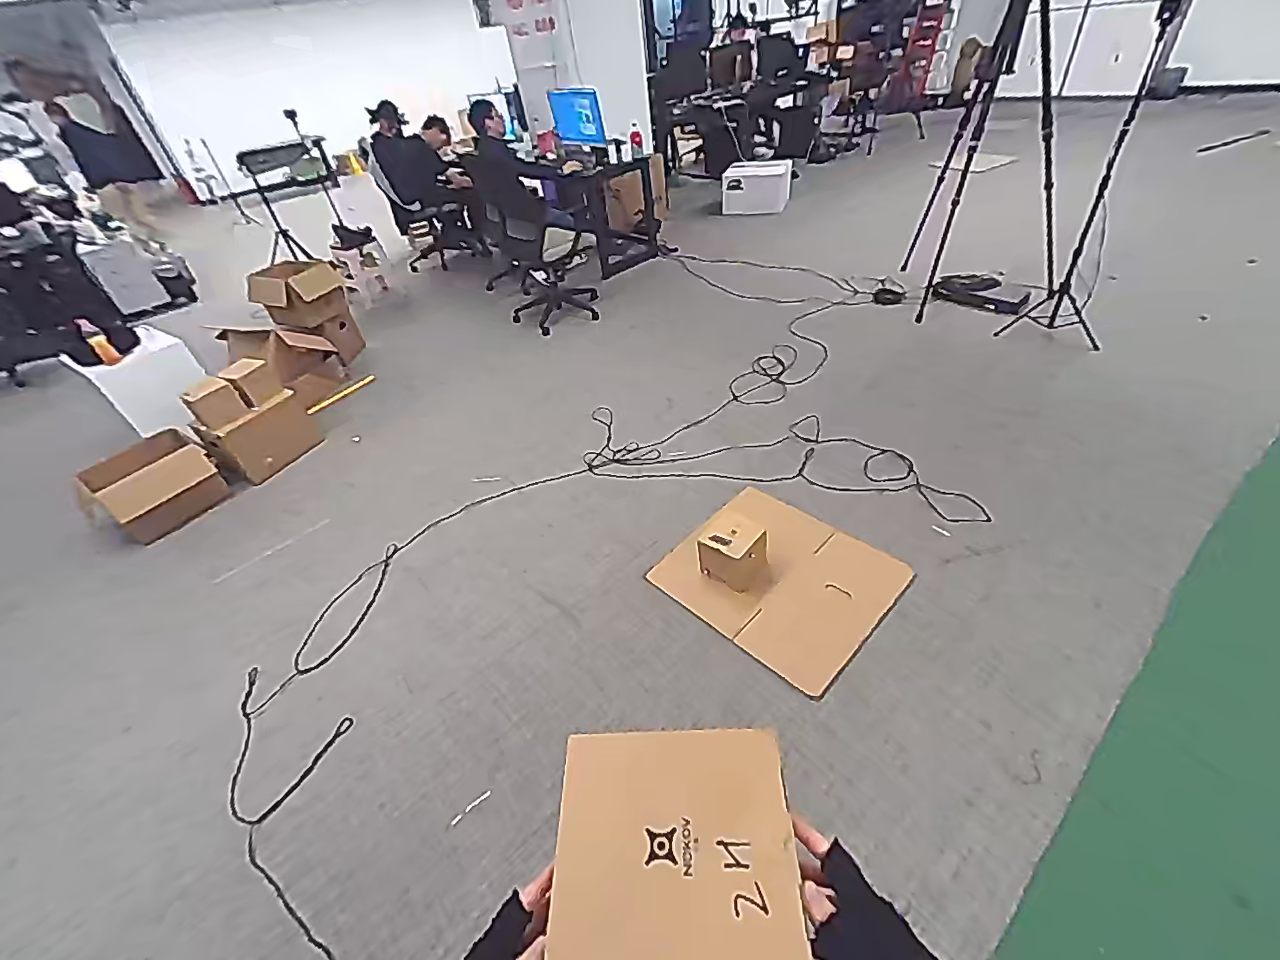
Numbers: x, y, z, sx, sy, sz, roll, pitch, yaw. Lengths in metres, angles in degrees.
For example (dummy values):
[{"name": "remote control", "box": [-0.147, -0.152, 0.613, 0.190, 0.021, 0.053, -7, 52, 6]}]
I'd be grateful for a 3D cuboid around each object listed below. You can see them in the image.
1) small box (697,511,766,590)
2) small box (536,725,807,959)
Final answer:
[{"name": "small box", "box": [0.317, 0.244, 1.847, 0.168, 0.176, 0.179, 25, 50, 35]}, {"name": "small box", "box": [0.031, 0.320, 0.444, 0.179, 0.176, 0.168, -4, 43, 6]}]
